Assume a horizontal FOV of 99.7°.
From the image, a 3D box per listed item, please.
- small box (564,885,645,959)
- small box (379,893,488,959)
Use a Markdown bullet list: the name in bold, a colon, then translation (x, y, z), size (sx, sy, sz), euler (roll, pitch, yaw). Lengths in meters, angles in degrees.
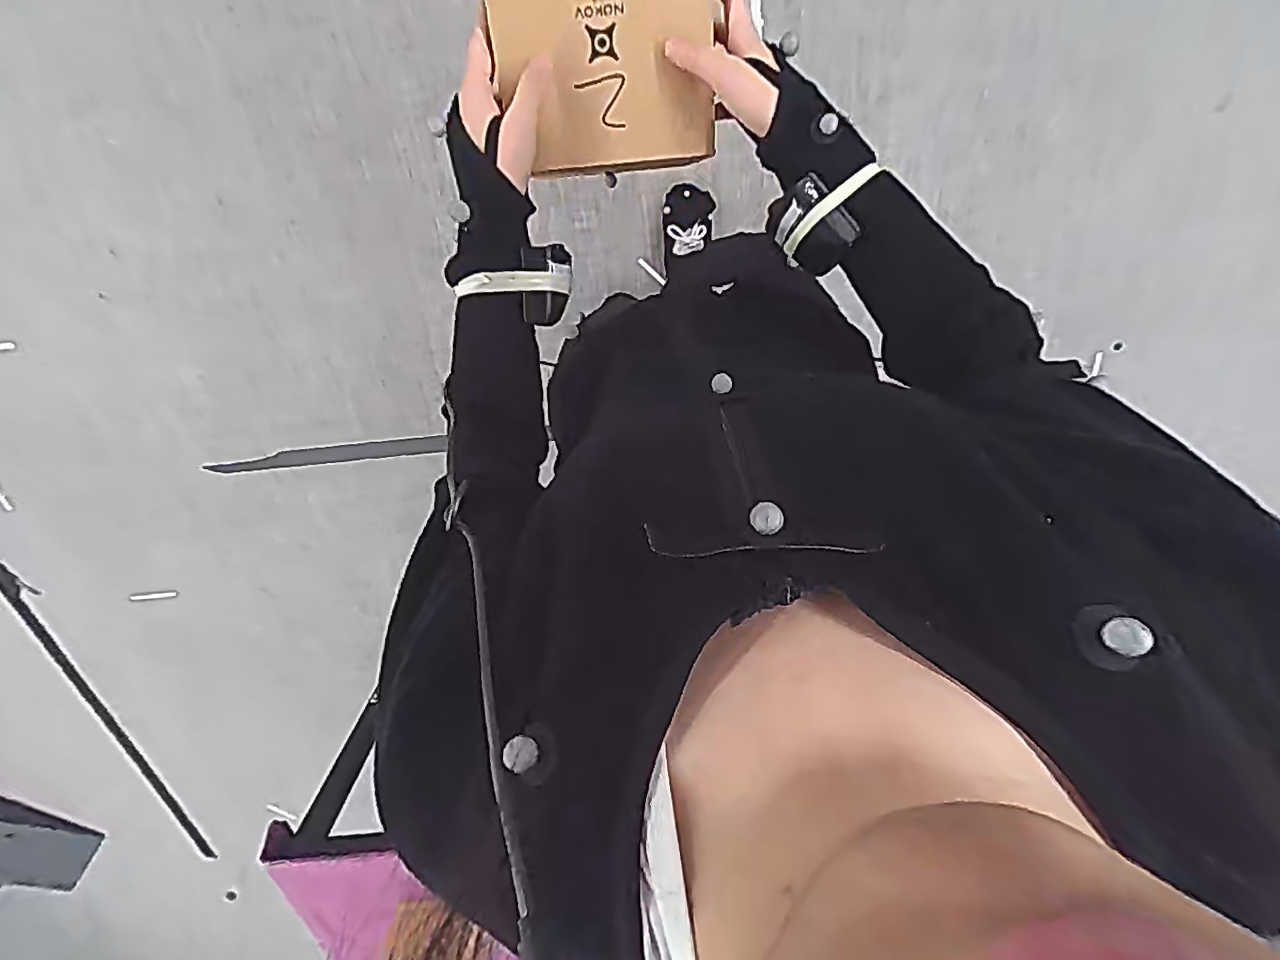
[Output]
- **small box**: translation (-0.079, 1.023, 1.170), size (0.168, 0.176, 0.179), euler (4, 115, -3)
- **small box**: translation (-0.449, 1.035, 1.172), size (0.179, 0.176, 0.168), euler (-5, 116, 1)
